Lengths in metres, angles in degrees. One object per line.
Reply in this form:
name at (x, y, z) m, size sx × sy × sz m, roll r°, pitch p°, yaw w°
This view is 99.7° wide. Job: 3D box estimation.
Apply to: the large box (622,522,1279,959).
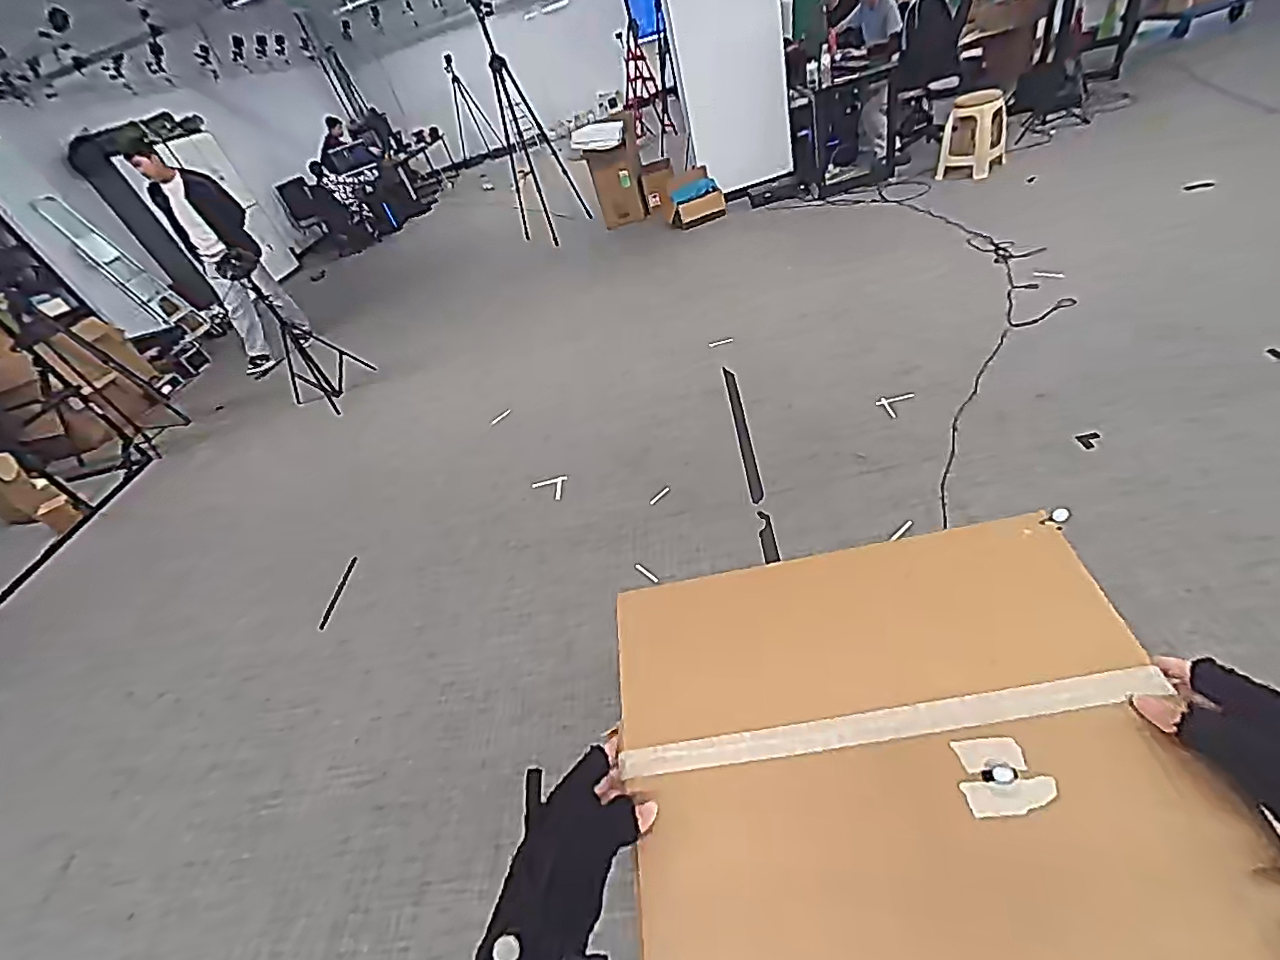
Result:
large box at (0.220, 0.290, 0.541) m, size 0.408 × 0.320 × 0.320 m, roll -13°, pitch 49°, yaw 8°
